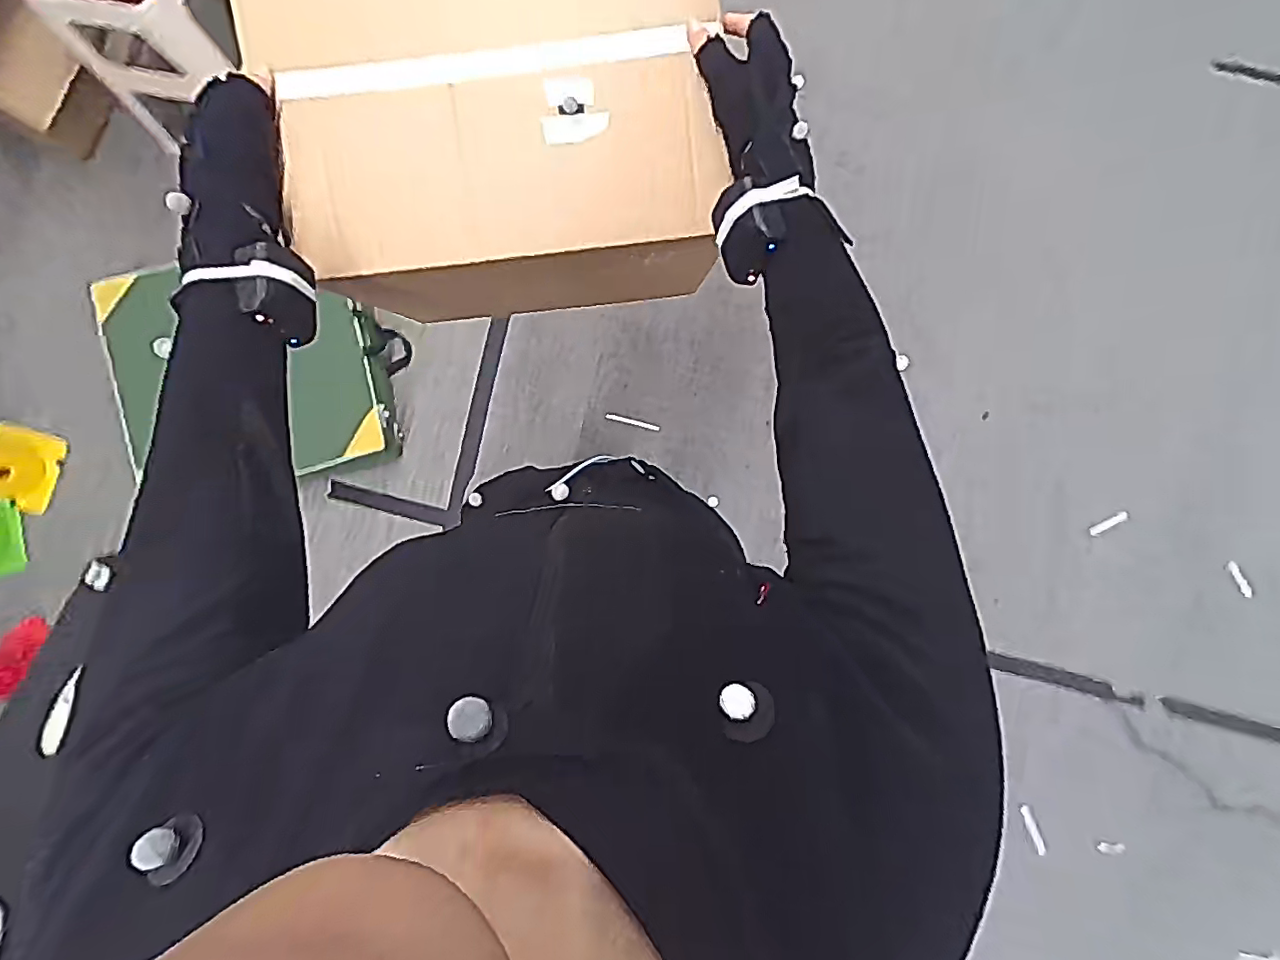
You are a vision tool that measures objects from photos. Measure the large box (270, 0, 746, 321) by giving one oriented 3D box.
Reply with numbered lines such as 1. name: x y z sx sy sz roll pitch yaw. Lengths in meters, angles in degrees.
1. large box: -0.120 -0.382 0.626 0.408 0.320 0.320 -6 99 -1
